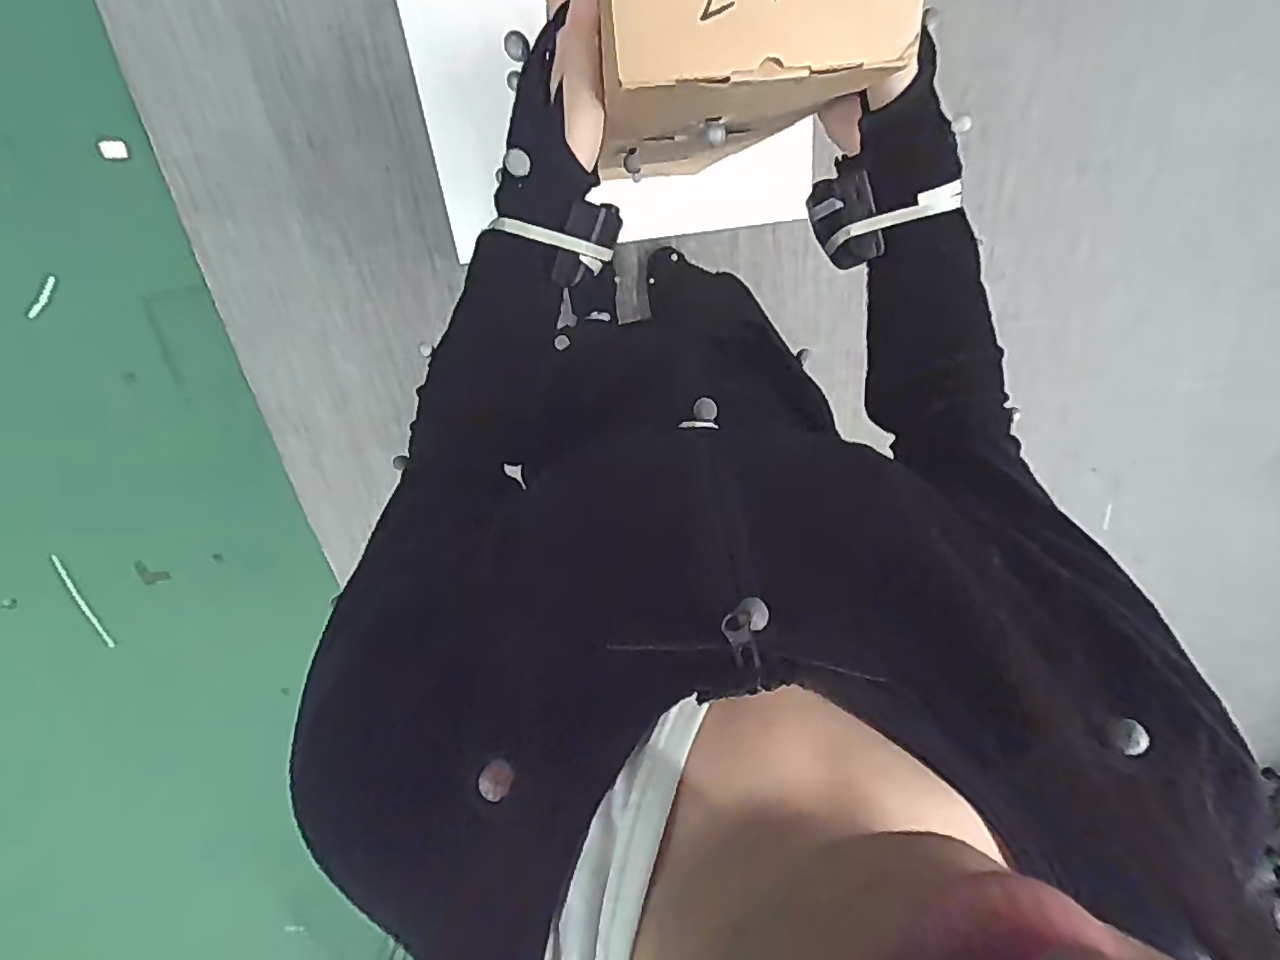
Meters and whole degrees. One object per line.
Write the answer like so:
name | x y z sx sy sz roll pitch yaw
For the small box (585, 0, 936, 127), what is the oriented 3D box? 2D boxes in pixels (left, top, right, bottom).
small box | 0.051 -0.327 0.310 0.168 0.176 0.179 -8 114 -5

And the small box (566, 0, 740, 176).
small box | 0.009 -0.459 0.610 0.168 0.176 0.179 -7 113 -6
